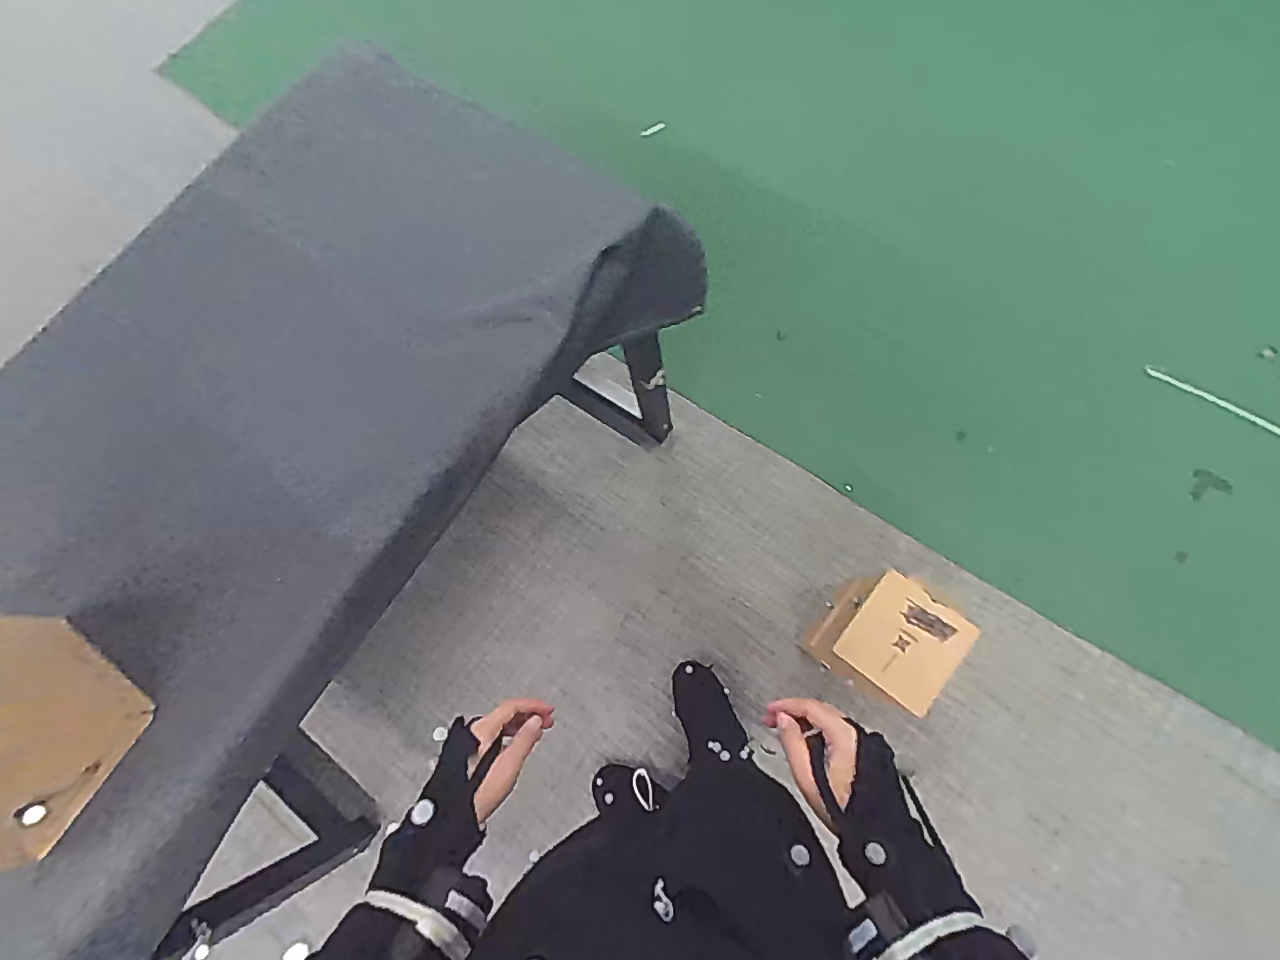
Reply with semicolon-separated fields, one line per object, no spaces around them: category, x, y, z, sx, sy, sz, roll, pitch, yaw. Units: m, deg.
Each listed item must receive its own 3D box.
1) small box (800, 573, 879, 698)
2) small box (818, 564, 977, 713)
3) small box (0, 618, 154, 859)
small box;0.450;0.315;1.110;0.168;0.176;0.179;37;82;16
small box;0.436;0.274;0.951;0.168;0.176;0.179;37;82;16
small box;-0.620;0.236;0.488;0.179;0.176;0.168;30;78;13
